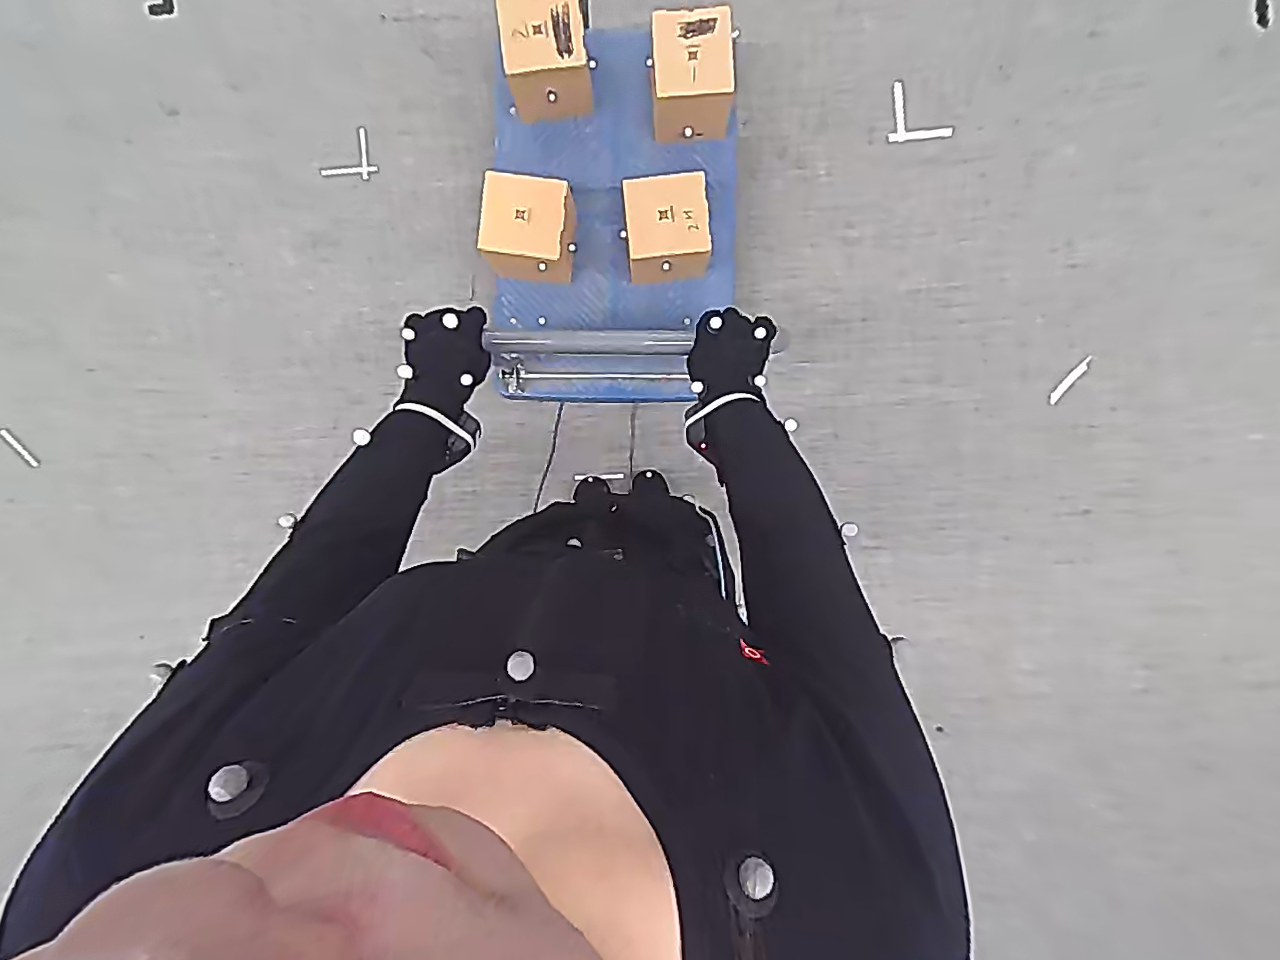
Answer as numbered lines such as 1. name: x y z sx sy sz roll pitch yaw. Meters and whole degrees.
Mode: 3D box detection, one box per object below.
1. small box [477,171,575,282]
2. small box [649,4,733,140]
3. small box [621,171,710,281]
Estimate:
1. small box: -0.248 -0.558 1.211 0.179 0.176 0.168 6 92 -1
2. small box: 0.108 -0.891 1.194 0.168 0.176 0.179 -4 93 1
3. small box: 0.056 -0.558 1.209 0.179 0.176 0.168 -6 93 1
